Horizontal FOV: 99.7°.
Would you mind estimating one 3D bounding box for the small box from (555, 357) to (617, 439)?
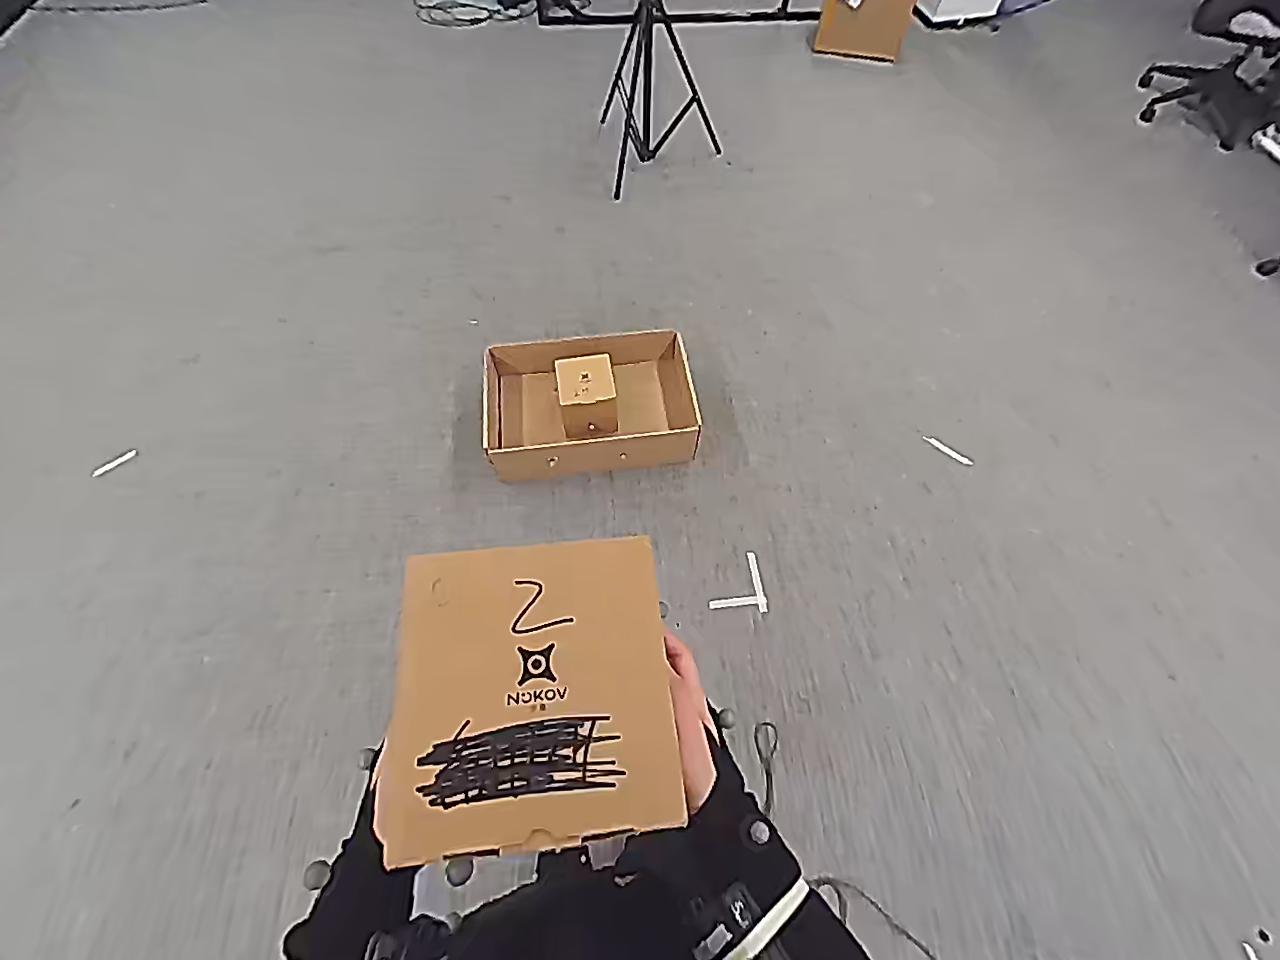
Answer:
[{"bbox_3d":[-0.165,-0.250,1.659,0.168,0.176,0.179,-8,61,-5],"label":"small box"}]
